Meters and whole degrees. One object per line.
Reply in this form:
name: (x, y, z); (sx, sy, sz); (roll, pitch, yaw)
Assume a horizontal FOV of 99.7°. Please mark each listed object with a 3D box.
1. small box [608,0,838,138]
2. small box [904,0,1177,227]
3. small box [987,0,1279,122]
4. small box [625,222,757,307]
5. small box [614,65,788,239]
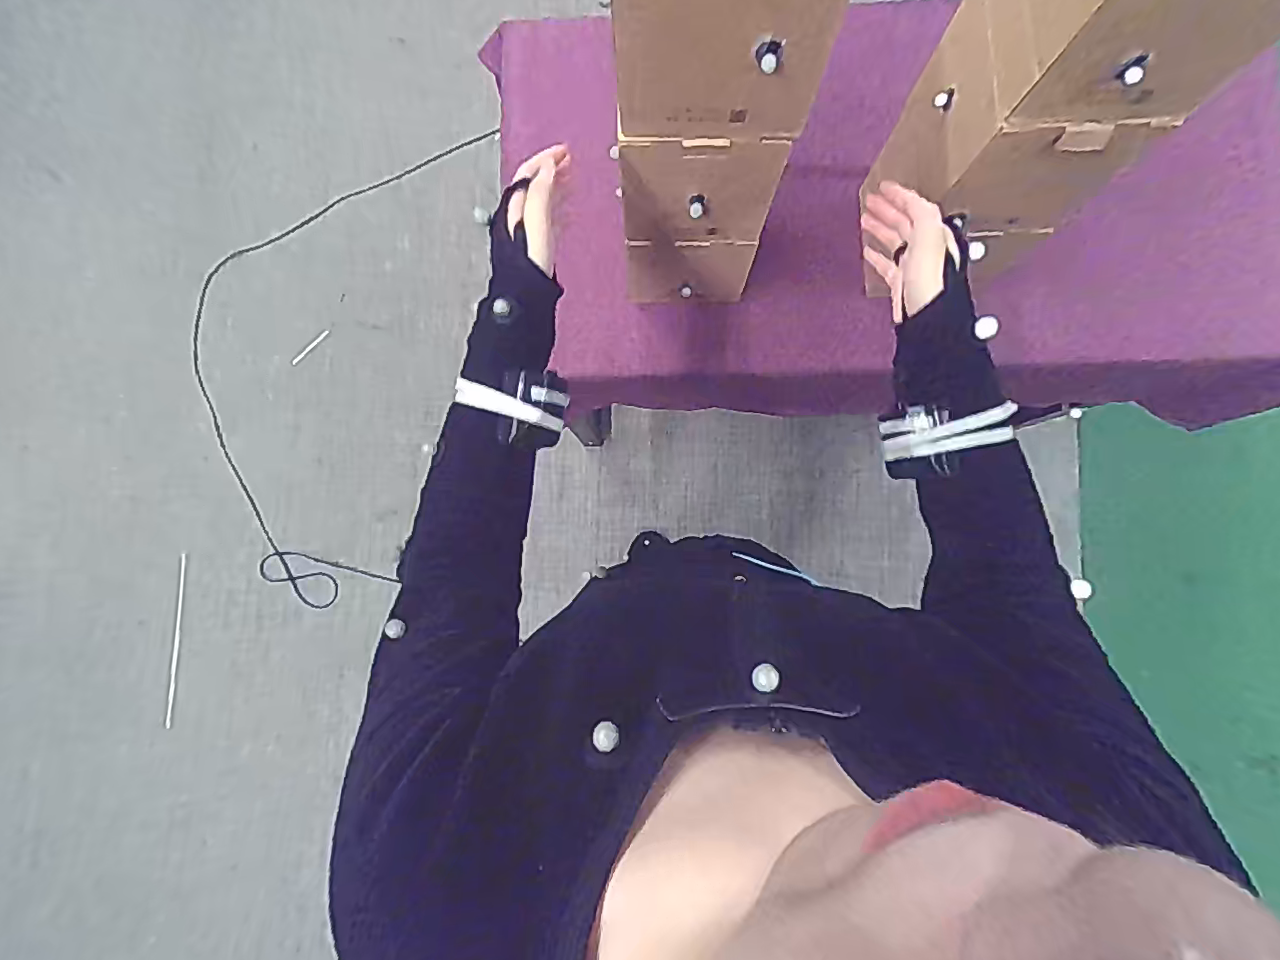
small box: (0.065, -0.407, 0.429); (0.168, 0.176, 0.179); (3, 82, 1)
small box: (0.407, -0.394, 0.582); (0.168, 0.176, 0.179); (-1, 82, 2)
small box: (0.404, -0.423, 0.421); (0.168, 0.176, 0.179); (-2, 83, 1)
small box: (0.065, -0.361, 0.754); (0.168, 0.176, 0.179); (0, 83, 2)
small box: (0.060, -0.384, 0.592); (0.168, 0.176, 0.179); (-1, 84, 1)
